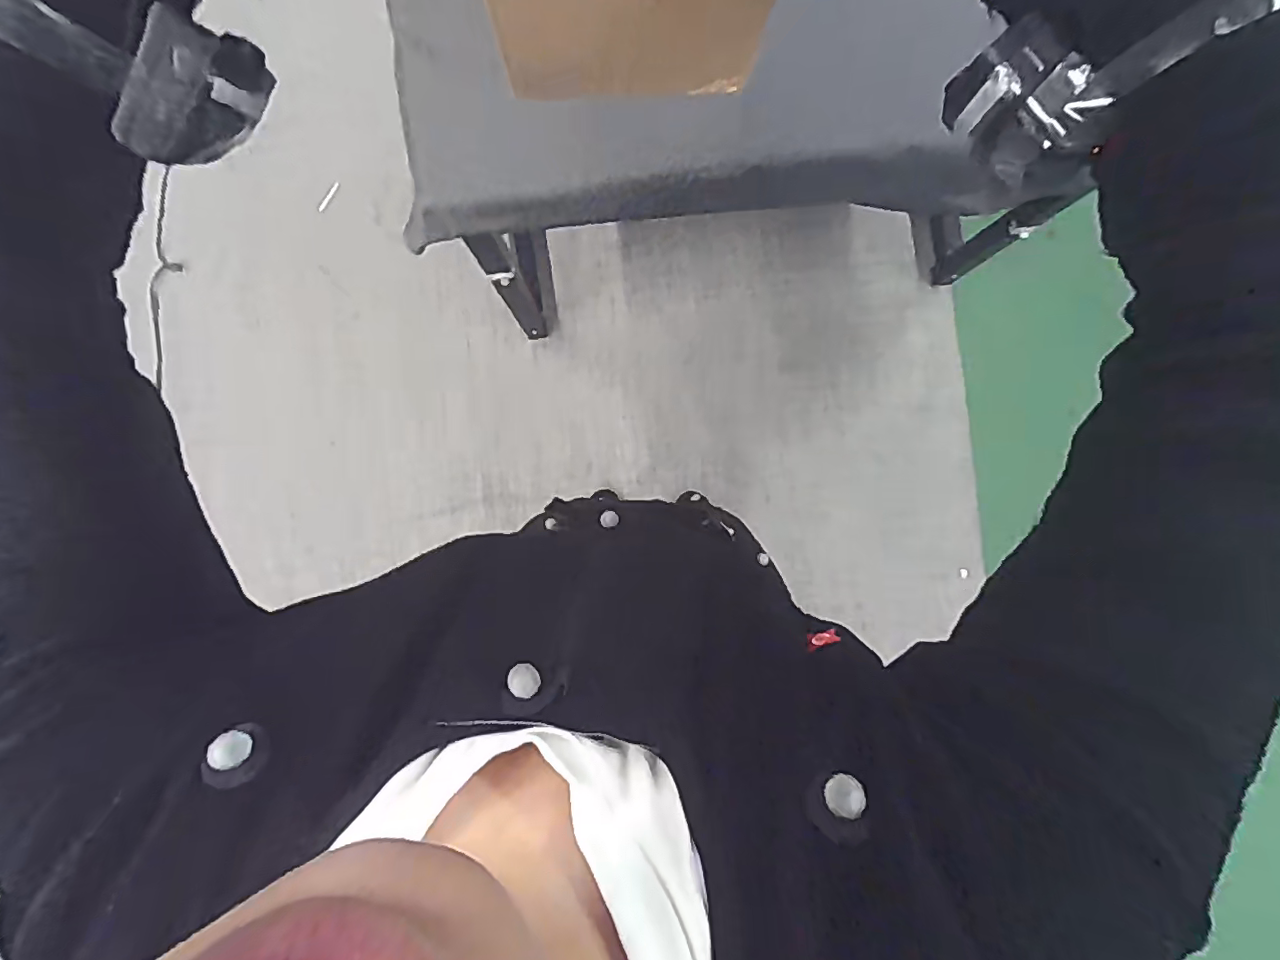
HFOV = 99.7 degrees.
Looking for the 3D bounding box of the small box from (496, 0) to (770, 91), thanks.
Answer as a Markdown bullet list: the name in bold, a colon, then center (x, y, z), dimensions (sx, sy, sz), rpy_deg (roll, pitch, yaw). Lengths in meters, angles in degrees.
- **small box**: center (-0.005, -0.364, 0.320), dimensions (0.179, 0.176, 0.168), rpy_deg (-3, 96, -3)
